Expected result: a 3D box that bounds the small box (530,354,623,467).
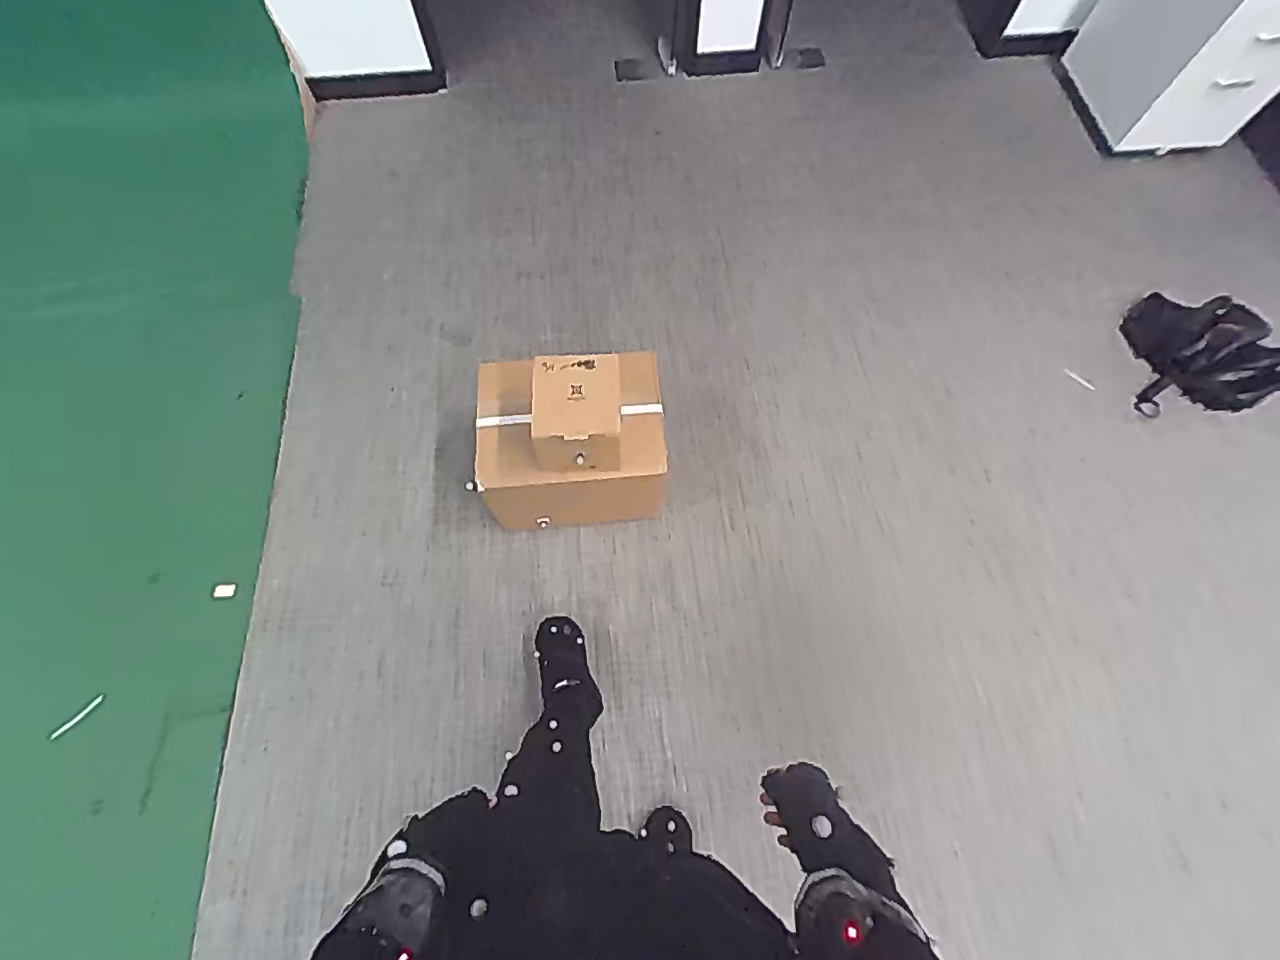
[{"bbox_3d":[-0.120,-0.131,1.086,0.168,0.176,0.179,-3,70,-1],"label":"small box"}]
